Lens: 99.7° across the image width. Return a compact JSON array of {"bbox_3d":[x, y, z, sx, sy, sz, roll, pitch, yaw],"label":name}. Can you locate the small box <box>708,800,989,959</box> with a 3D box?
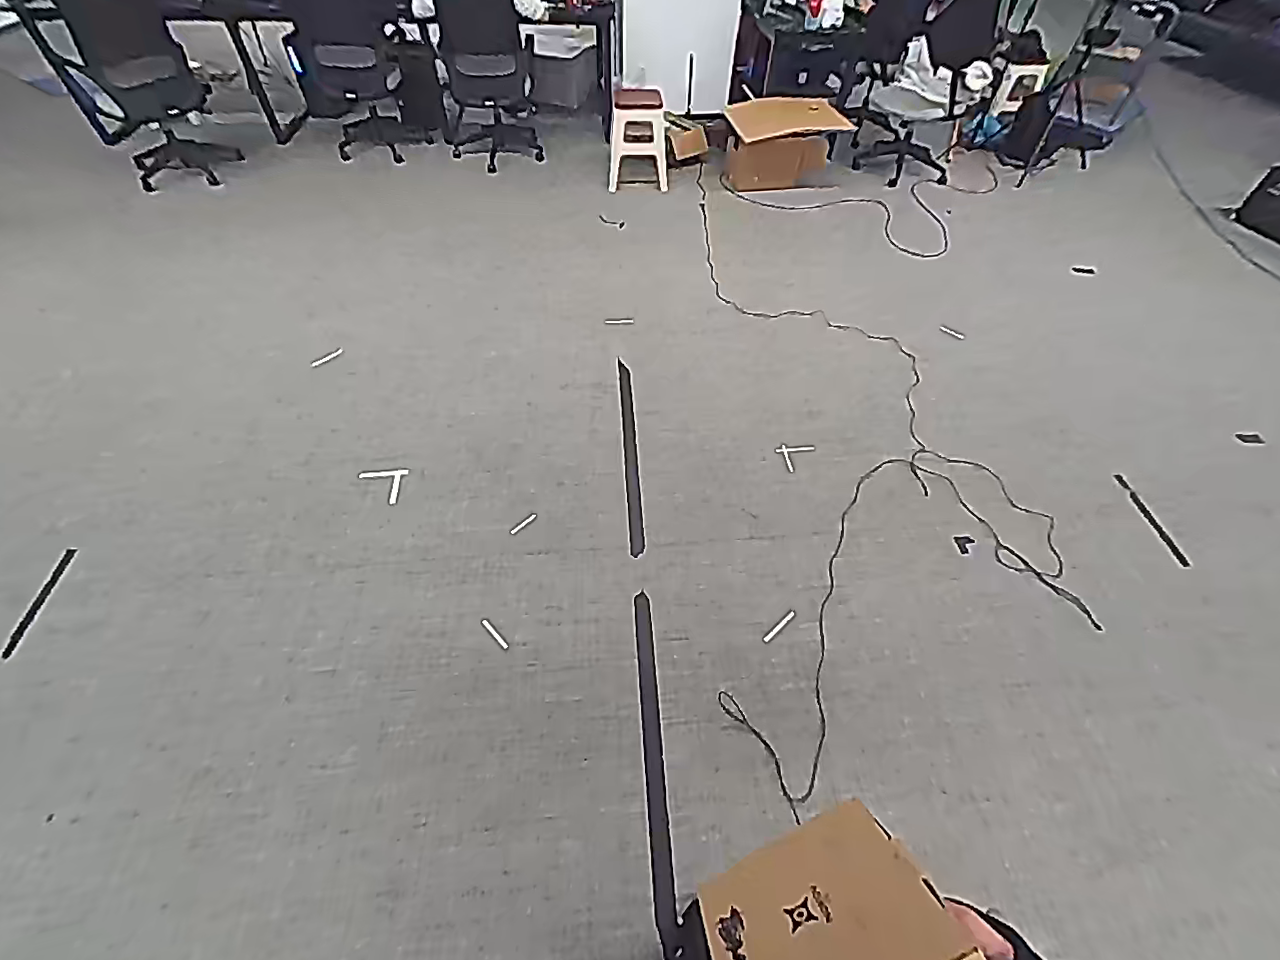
[{"bbox_3d":[0.181,0.418,0.439,0.179,0.168,0.176,-26,91,-3],"label":"small box"}]
